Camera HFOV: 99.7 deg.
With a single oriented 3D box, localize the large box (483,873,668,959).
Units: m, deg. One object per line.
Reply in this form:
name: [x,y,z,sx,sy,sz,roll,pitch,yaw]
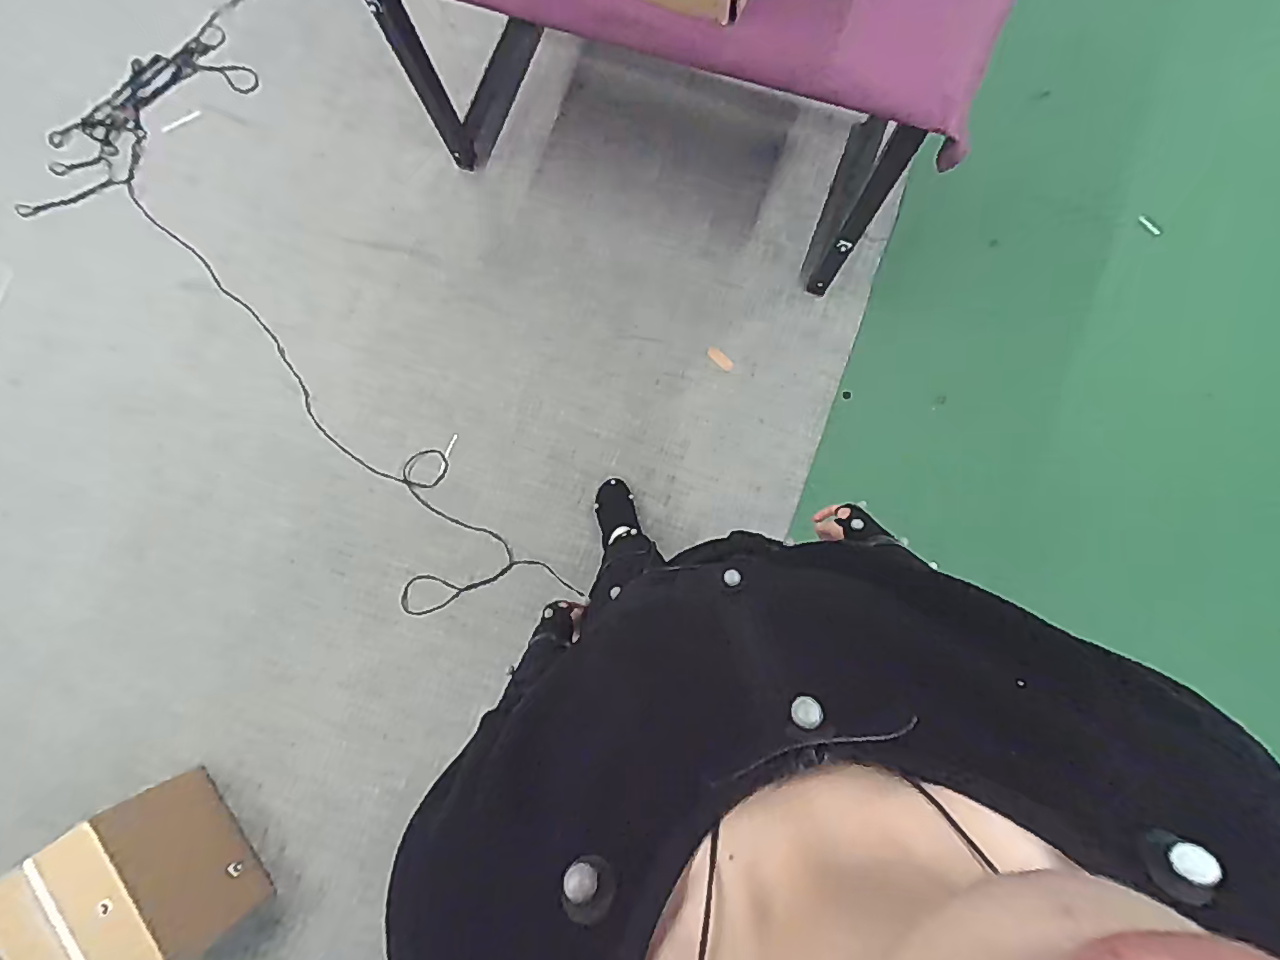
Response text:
large box: [-0.149,1.198,1.274,0.408,0.320,0.320,6,86,2]
